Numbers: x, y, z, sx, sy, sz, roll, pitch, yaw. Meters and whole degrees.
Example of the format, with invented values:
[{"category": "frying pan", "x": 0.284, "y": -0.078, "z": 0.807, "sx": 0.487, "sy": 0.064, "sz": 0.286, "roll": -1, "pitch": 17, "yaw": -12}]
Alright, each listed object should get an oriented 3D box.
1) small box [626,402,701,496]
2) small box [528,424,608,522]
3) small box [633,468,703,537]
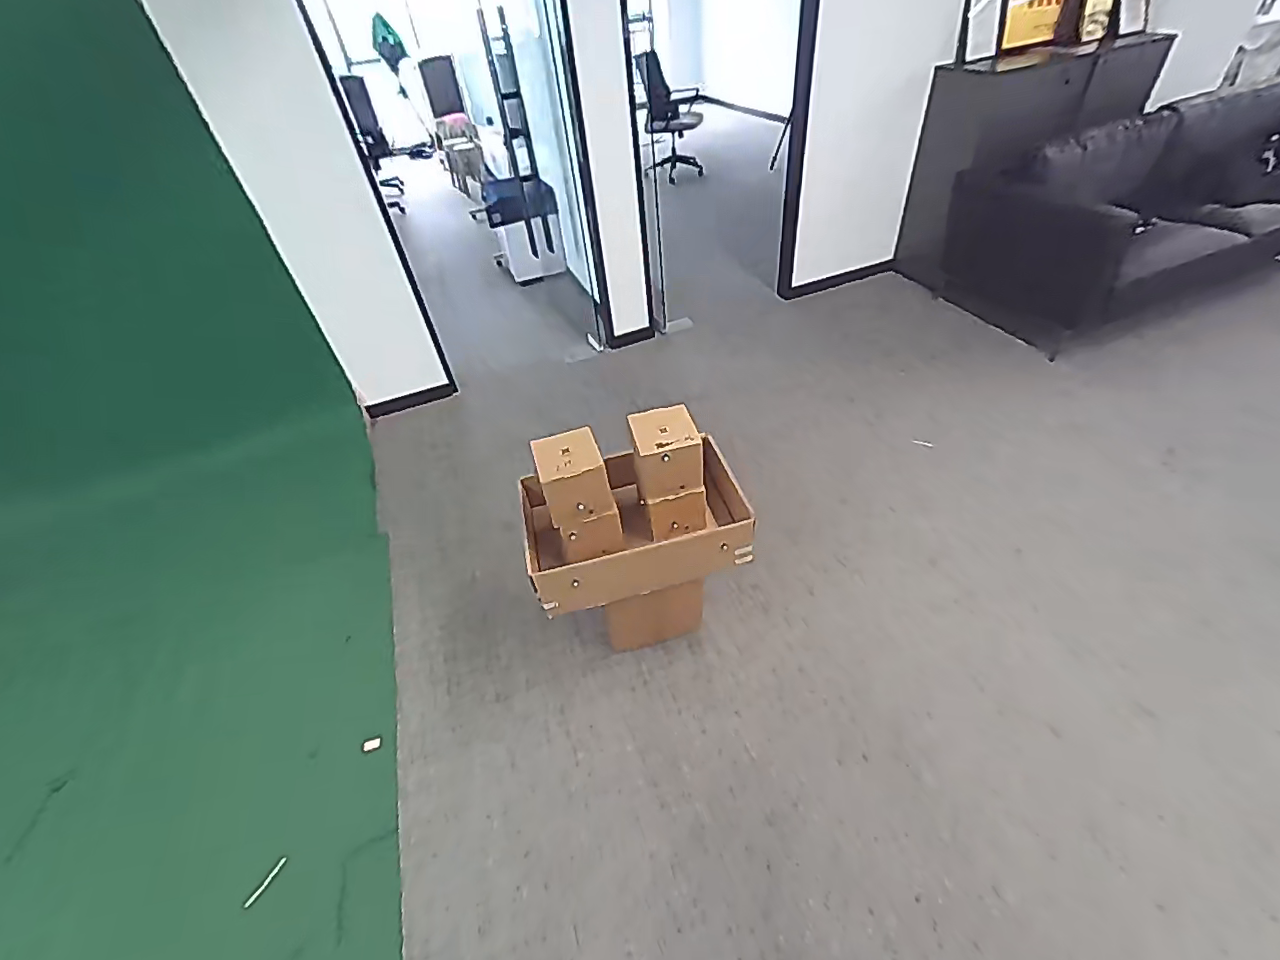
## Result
[{"category": "small box", "x": 0.062, "y": -0.083, "z": 1.475, "sx": 0.168, "sy": 0.176, "sz": 0.179, "roll": -12, "pitch": 45, "yaw": -6}, {"category": "small box", "x": -0.190, "y": -0.018, "z": 1.434, "sx": 0.168, "sy": 0.176, "sz": 0.179, "roll": -16, "pitch": 45, "yaw": -9}, {"category": "small box", "x": 0.078, "y": 0.039, "z": 1.585, "sx": 0.168, "sy": 0.176, "sz": 0.179, "roll": -14, "pitch": 46, "yaw": -7}]
